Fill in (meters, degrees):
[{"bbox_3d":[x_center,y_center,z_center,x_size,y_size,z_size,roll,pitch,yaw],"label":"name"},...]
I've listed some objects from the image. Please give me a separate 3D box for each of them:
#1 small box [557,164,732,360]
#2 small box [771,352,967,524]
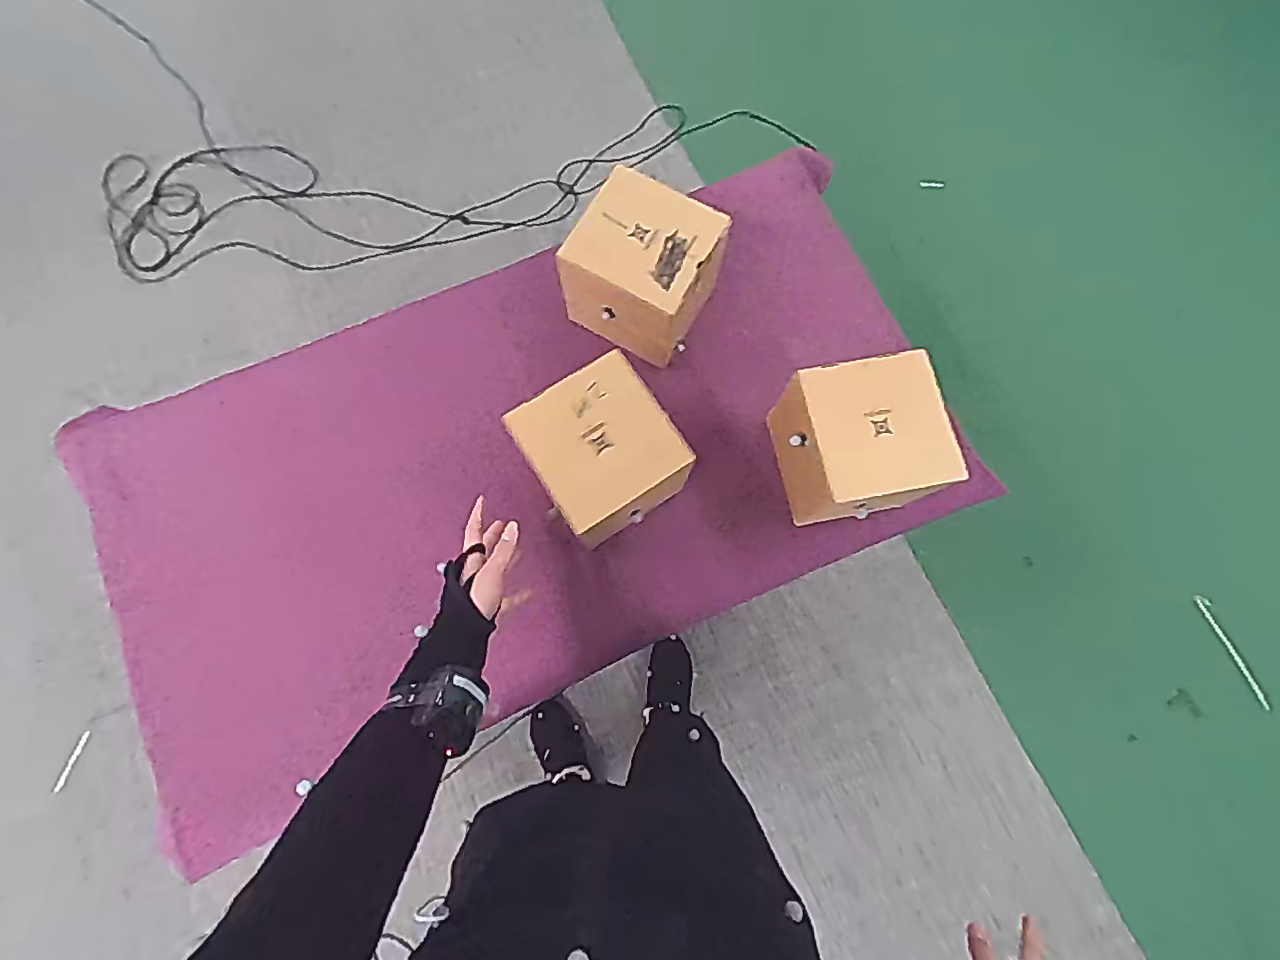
[{"bbox_3d":[0.006,-0.296,0.777,0.179,0.176,0.168,30,78,6],"label":"small box"},{"bbox_3d":[0.289,-0.044,0.723,0.168,0.176,0.179,-10,75,-2],"label":"small box"}]
